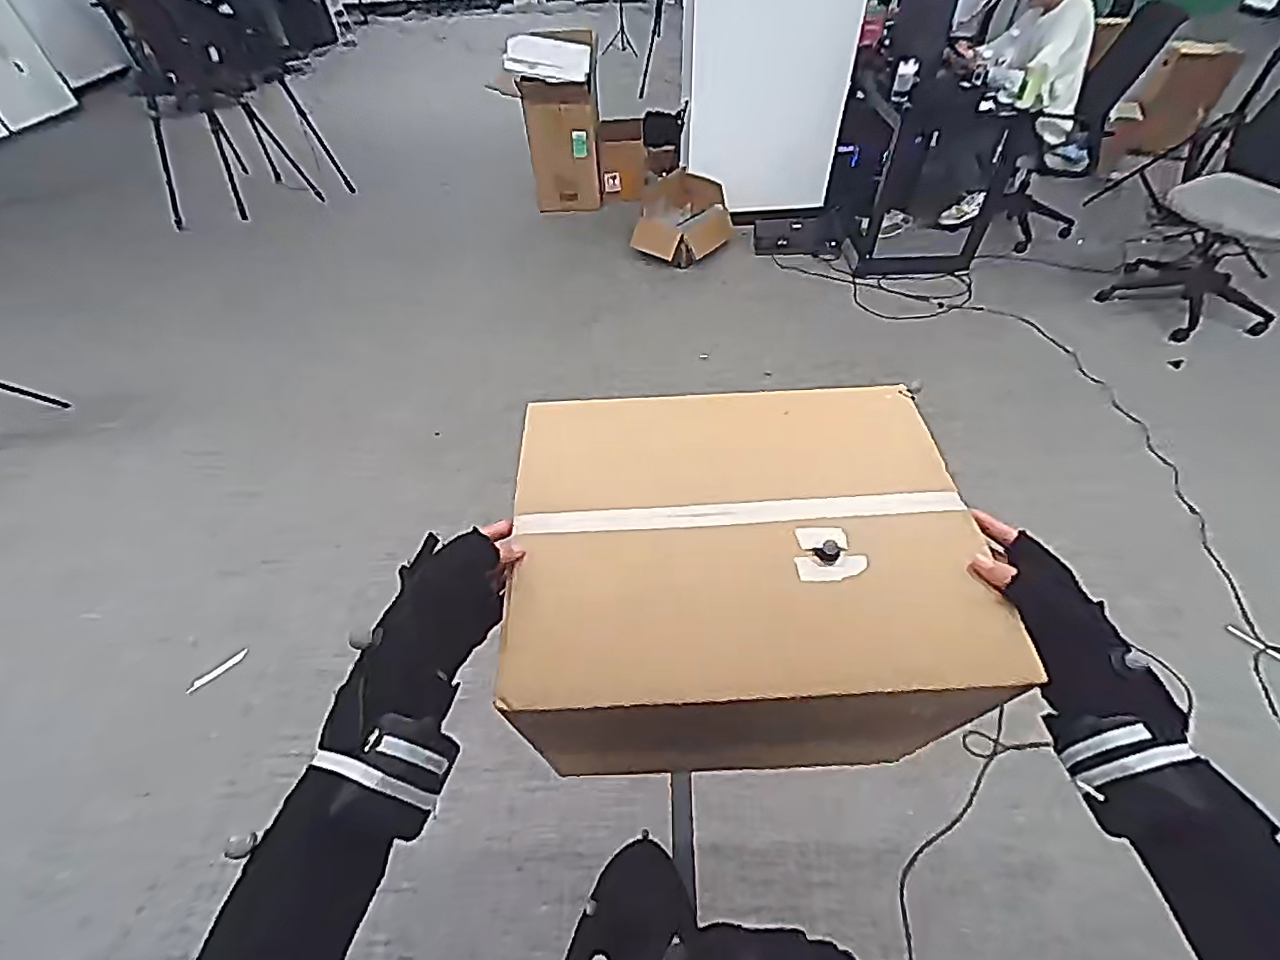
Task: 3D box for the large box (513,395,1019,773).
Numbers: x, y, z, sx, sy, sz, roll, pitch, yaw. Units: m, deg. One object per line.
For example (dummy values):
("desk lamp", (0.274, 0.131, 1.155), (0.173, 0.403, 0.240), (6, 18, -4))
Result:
("large box", (0.092, 0.128, 0.621), (0.408, 0.320, 0.320), (-3, 53, -1))
